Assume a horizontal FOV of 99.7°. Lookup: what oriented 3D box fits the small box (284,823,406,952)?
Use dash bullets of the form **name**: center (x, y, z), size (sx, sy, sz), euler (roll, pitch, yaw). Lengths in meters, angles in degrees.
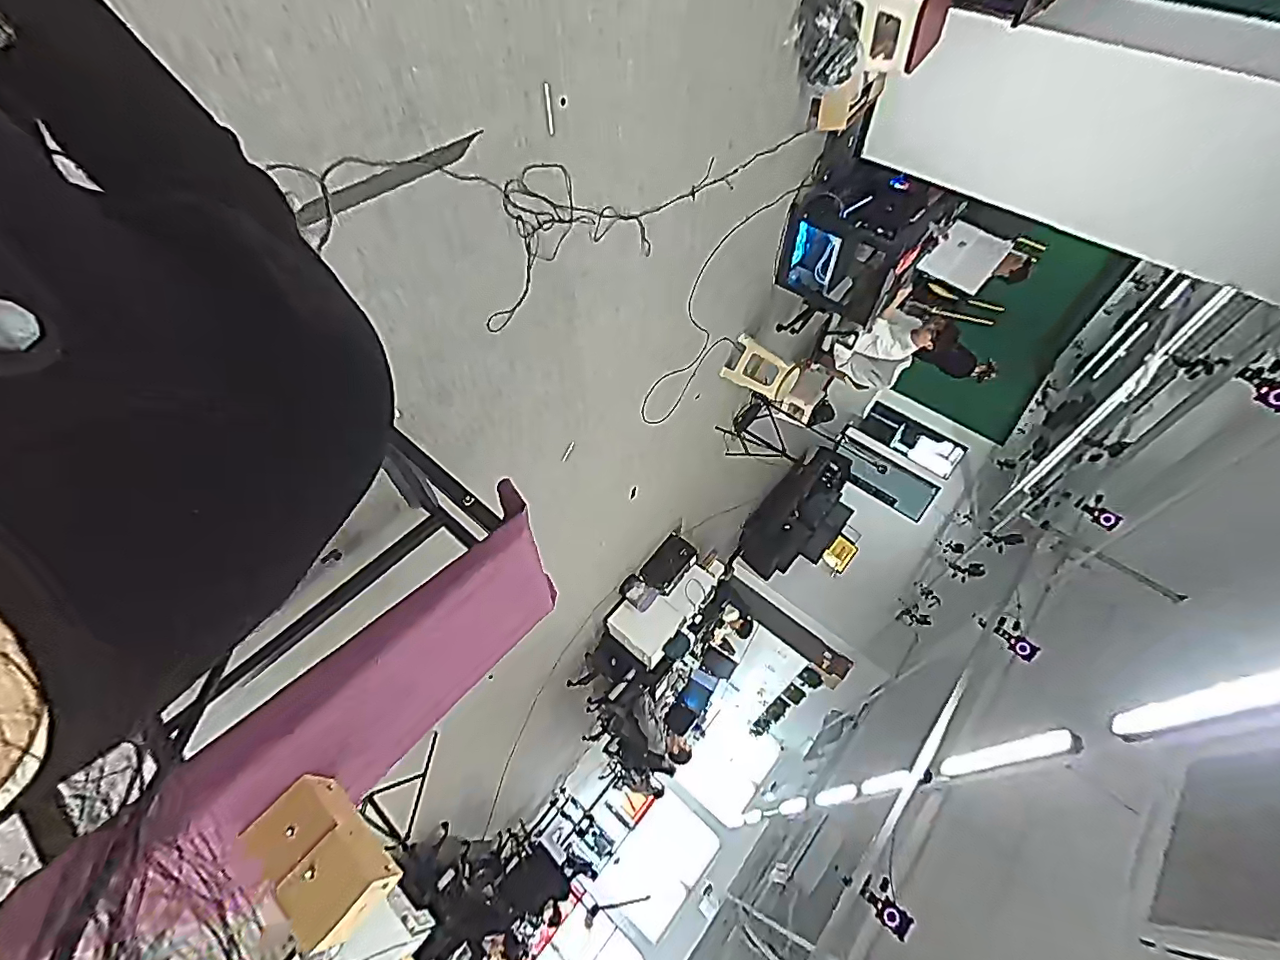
- **small box**: center (-0.714, 0.967, 1.301), size (0.179, 0.176, 0.168), euler (-46, 157, -21)
